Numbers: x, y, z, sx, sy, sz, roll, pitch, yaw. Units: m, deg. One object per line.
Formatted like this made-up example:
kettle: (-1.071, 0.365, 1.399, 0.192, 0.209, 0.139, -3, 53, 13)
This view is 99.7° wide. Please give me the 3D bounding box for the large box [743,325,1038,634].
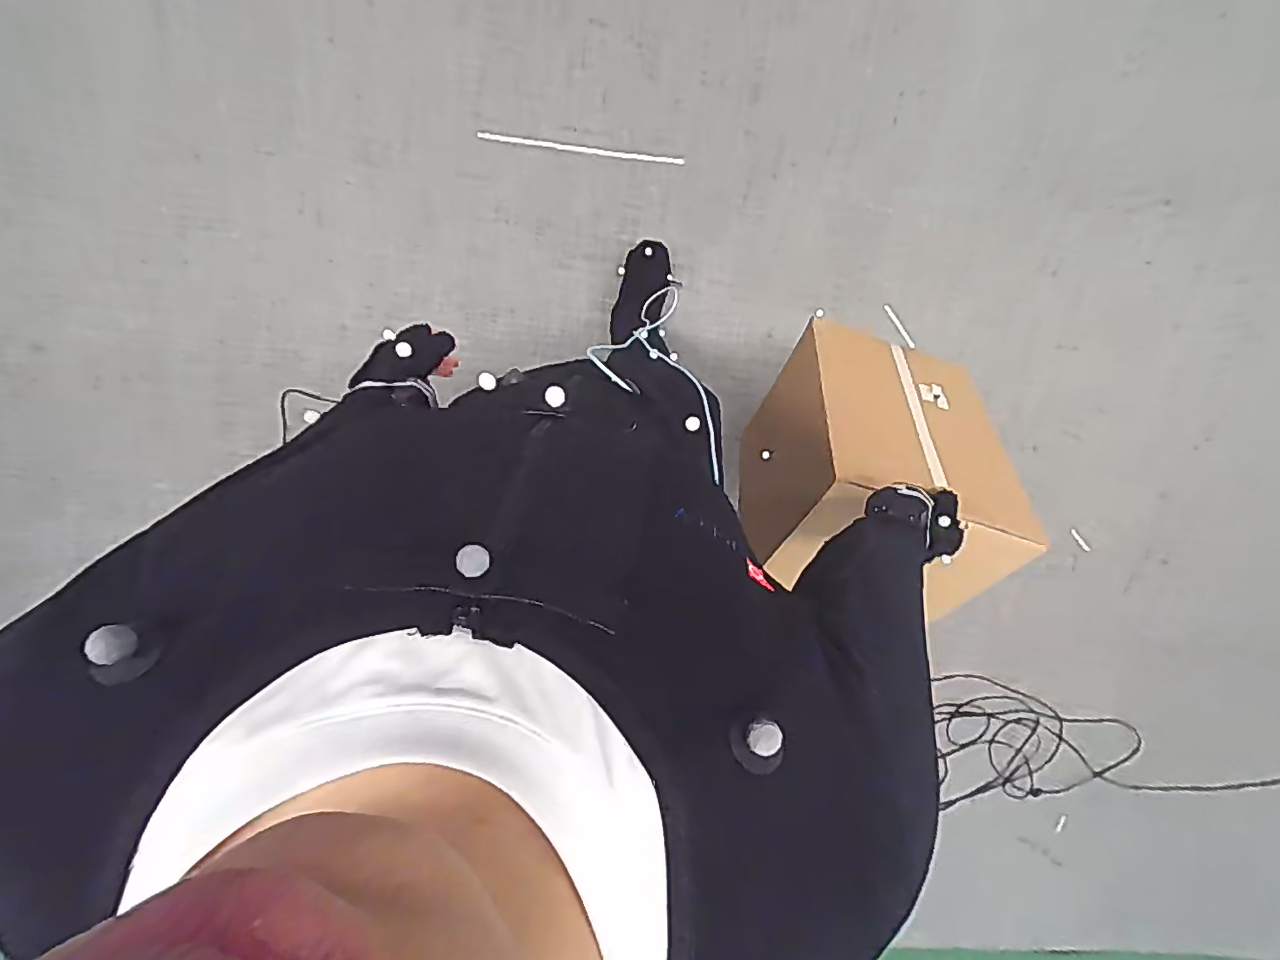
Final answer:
large box: (0.382, -0.001, 0.957, 0.320, 0.408, 0.320, 17, 136, -6)
